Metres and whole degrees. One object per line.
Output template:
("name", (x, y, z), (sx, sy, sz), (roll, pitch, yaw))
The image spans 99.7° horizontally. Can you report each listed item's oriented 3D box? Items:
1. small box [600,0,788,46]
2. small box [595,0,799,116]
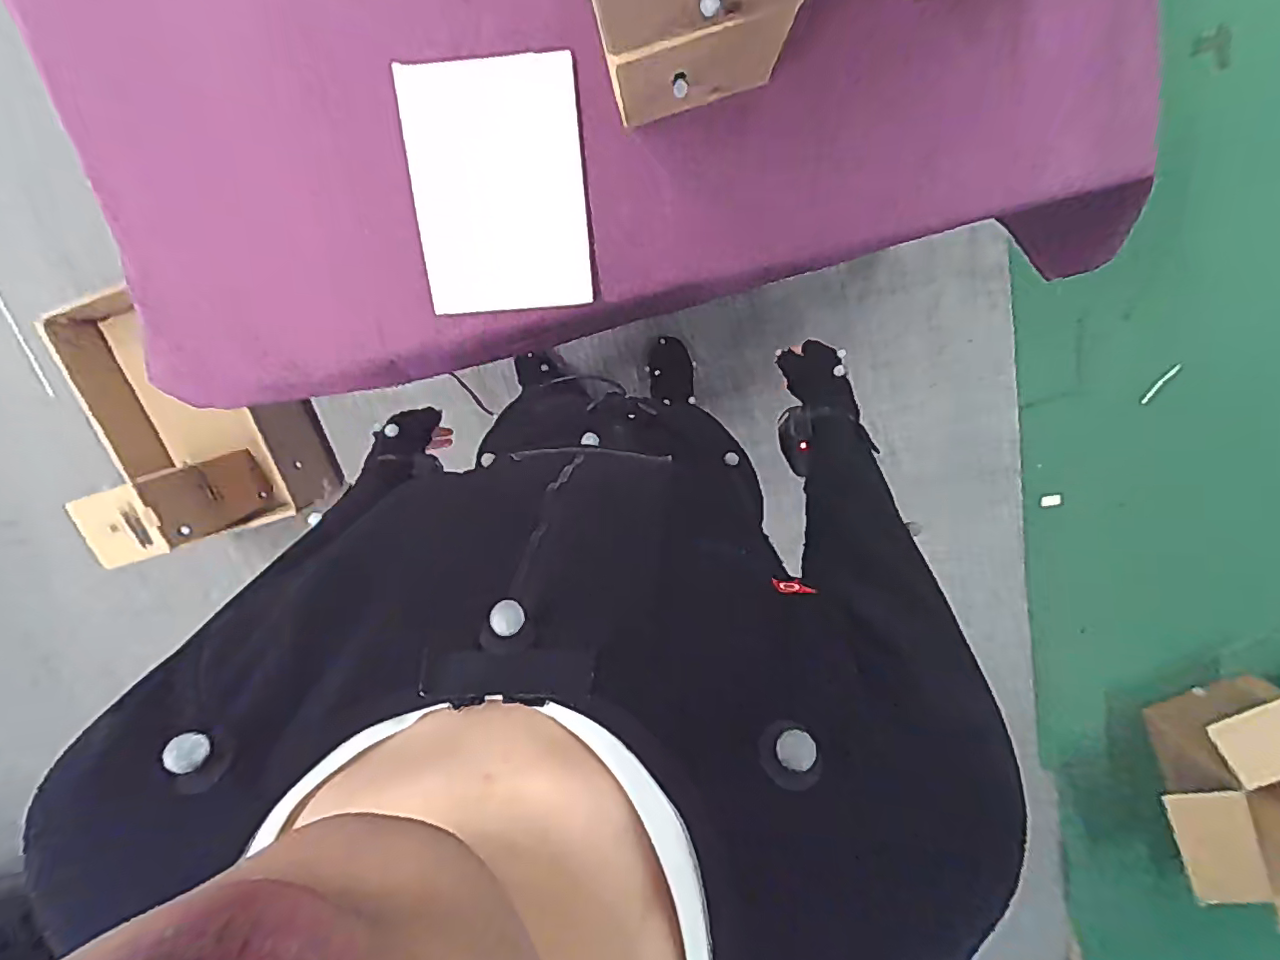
("small box", (0.032, -0.435, 0.346), (0.168, 0.176, 0.179), (-11, 105, 6))
("small box", (0.038, -0.475, 0.506), (0.168, 0.176, 0.179), (-14, 105, 7))
